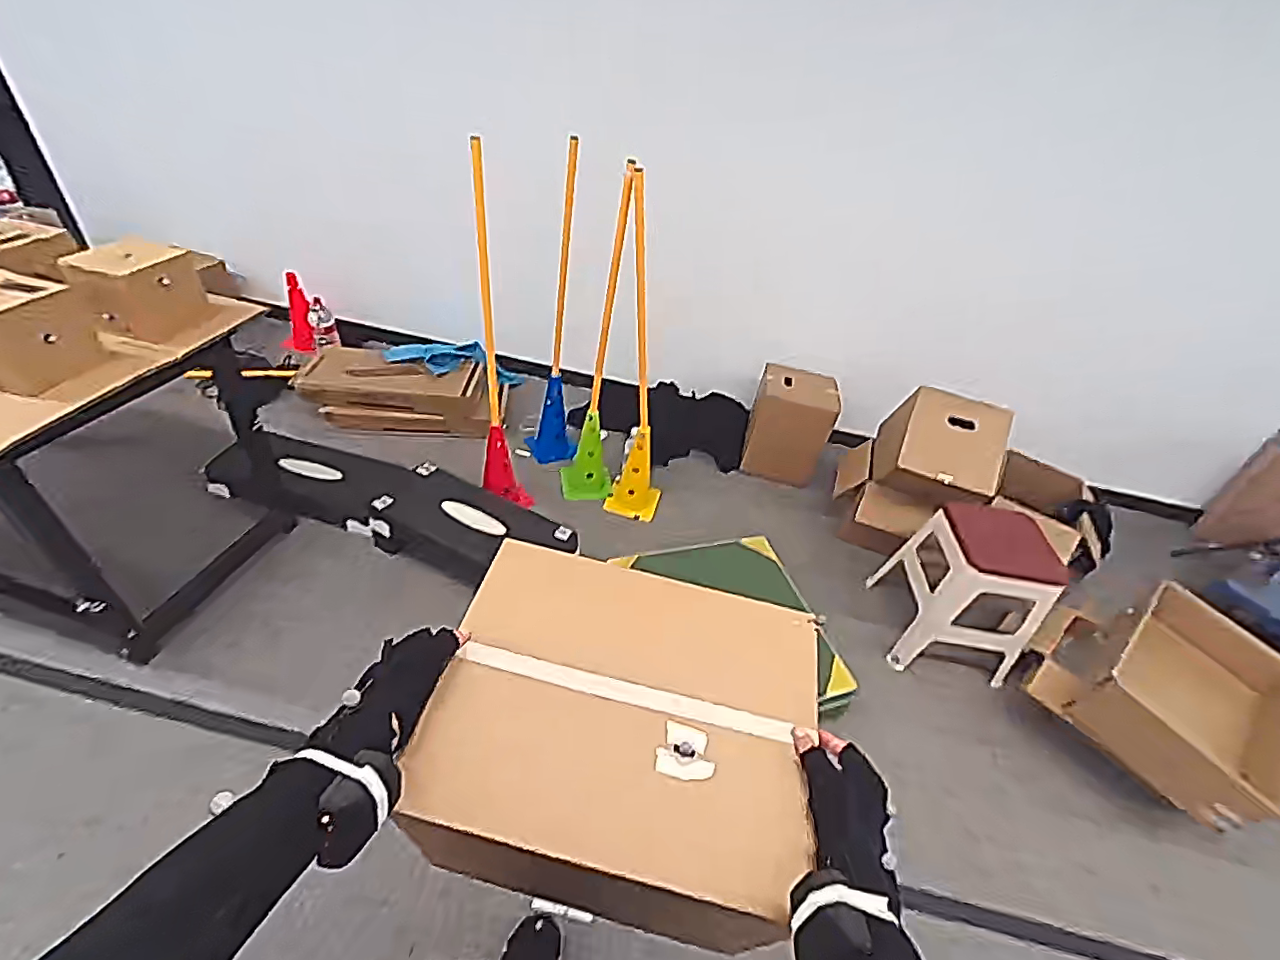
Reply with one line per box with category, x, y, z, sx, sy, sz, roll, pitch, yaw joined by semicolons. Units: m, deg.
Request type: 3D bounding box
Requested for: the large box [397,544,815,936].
large box;-0.027;0.333;0.701;0.408;0.320;0.320;14;46;3
